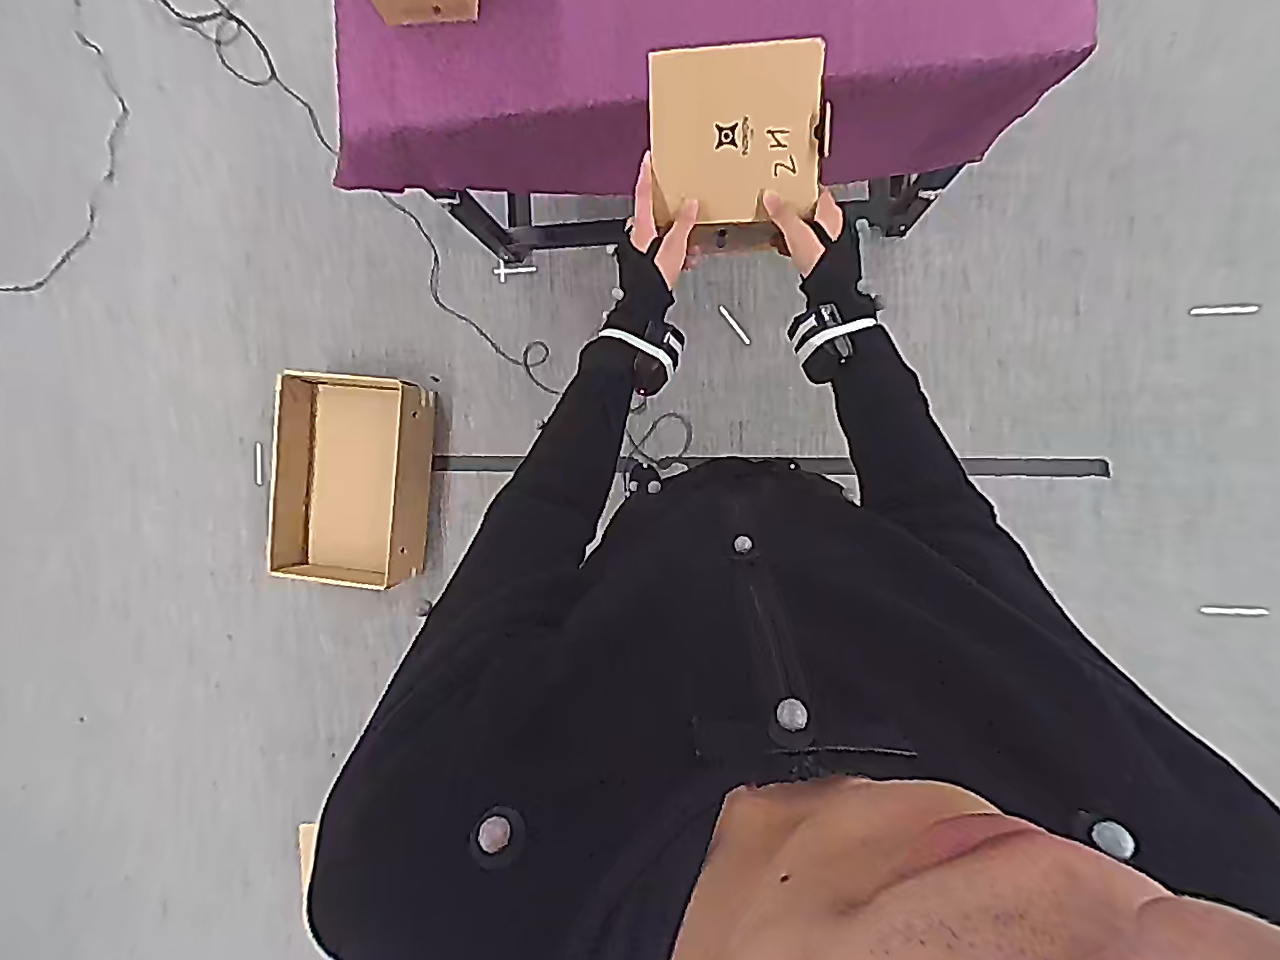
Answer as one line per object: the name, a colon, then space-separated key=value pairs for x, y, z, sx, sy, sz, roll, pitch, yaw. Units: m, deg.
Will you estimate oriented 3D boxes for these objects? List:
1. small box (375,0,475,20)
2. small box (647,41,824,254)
small box: x=-0.362 y=-0.867 z=0.845 sx=0.168 sy=0.176 sz=0.179 roll=4 pitch=92 yaw=6
small box: x=0.102 y=-0.366 z=0.629 sx=0.179 sy=0.176 sz=0.168 roll=0 pitch=103 yaw=4
